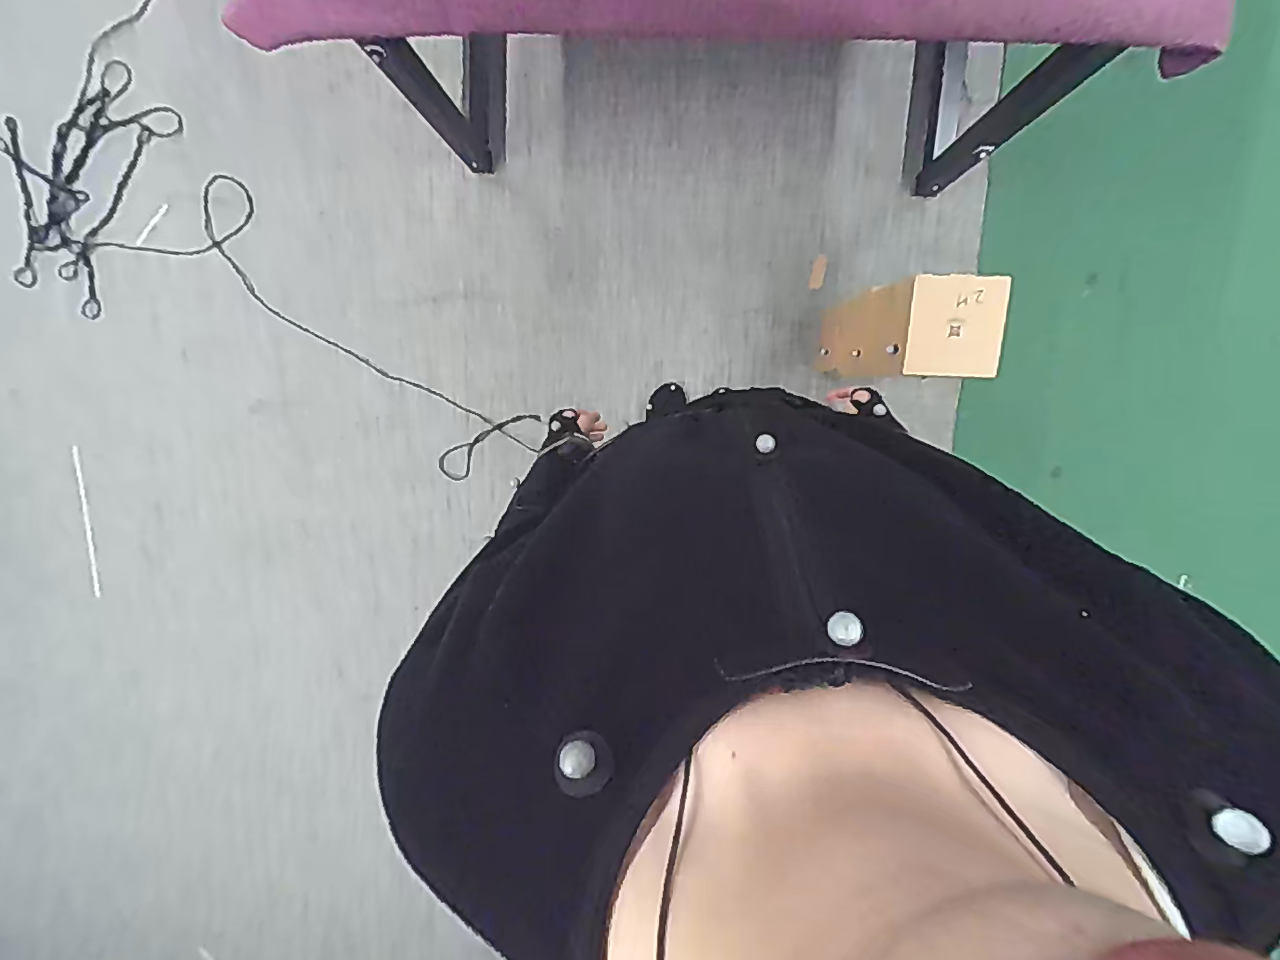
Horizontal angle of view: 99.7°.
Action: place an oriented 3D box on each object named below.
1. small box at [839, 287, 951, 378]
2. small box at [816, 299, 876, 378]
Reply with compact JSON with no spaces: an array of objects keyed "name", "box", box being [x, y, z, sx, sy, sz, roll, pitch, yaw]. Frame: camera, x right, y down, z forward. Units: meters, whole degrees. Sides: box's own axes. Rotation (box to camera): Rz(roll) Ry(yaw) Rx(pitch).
[{"name":"small box","box":[0.550,-0.318,1.189,0.168,0.176,0.179,2,100,3]},{"name":"small box","box":[0.553,-0.346,1.349,0.179,0.176,0.168,5,99,2]}]
